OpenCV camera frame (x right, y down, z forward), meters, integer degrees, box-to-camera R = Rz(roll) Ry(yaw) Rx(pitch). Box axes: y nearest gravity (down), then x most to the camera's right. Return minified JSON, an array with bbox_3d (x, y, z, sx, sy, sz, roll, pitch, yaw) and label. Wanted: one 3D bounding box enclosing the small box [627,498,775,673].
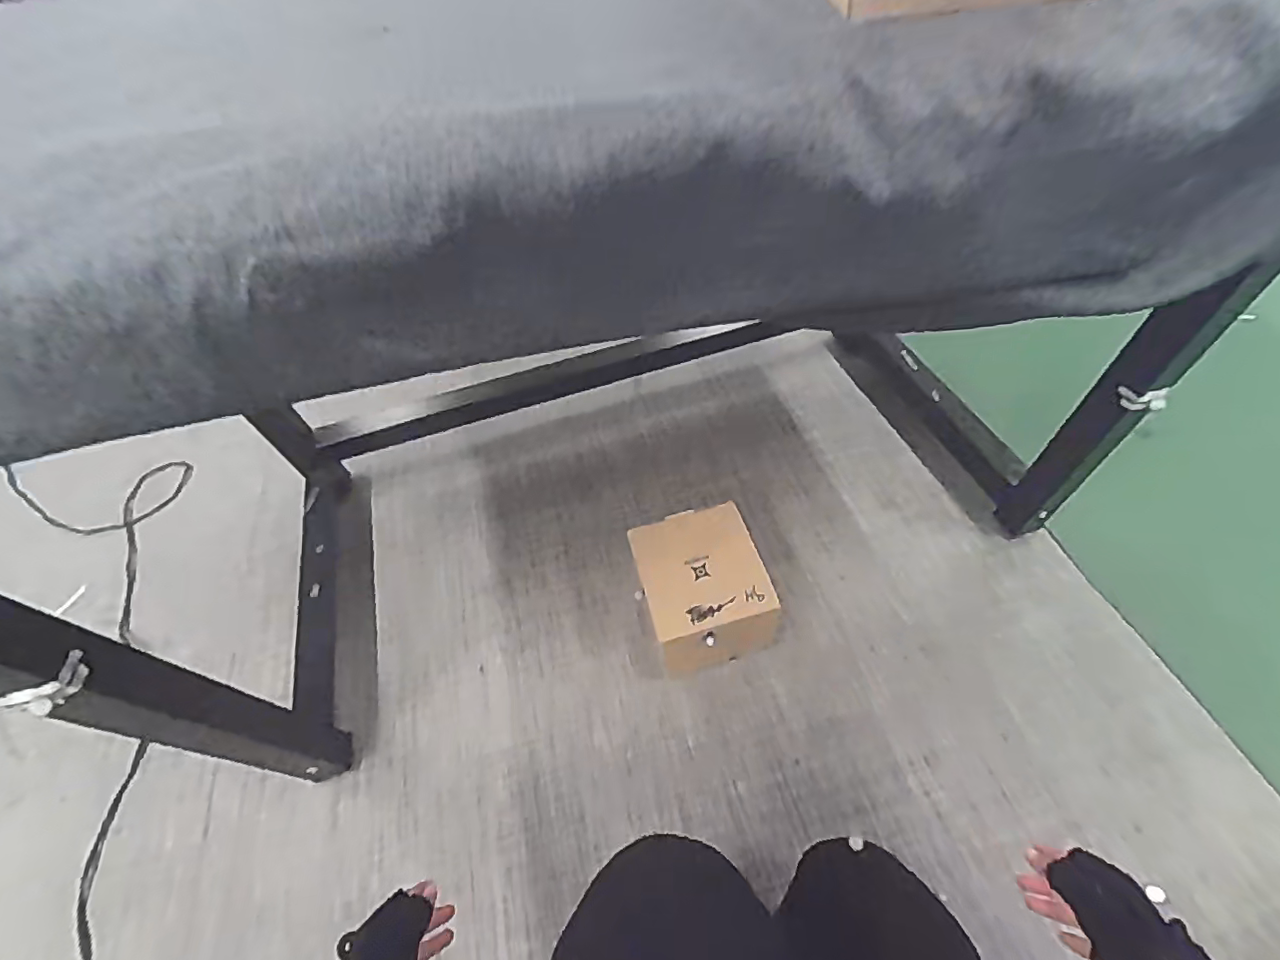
[{"bbox_3d":[0.085,0.159,0.805,0.168,0.176,0.179,-16,53,-4],"label":"small box"}]
